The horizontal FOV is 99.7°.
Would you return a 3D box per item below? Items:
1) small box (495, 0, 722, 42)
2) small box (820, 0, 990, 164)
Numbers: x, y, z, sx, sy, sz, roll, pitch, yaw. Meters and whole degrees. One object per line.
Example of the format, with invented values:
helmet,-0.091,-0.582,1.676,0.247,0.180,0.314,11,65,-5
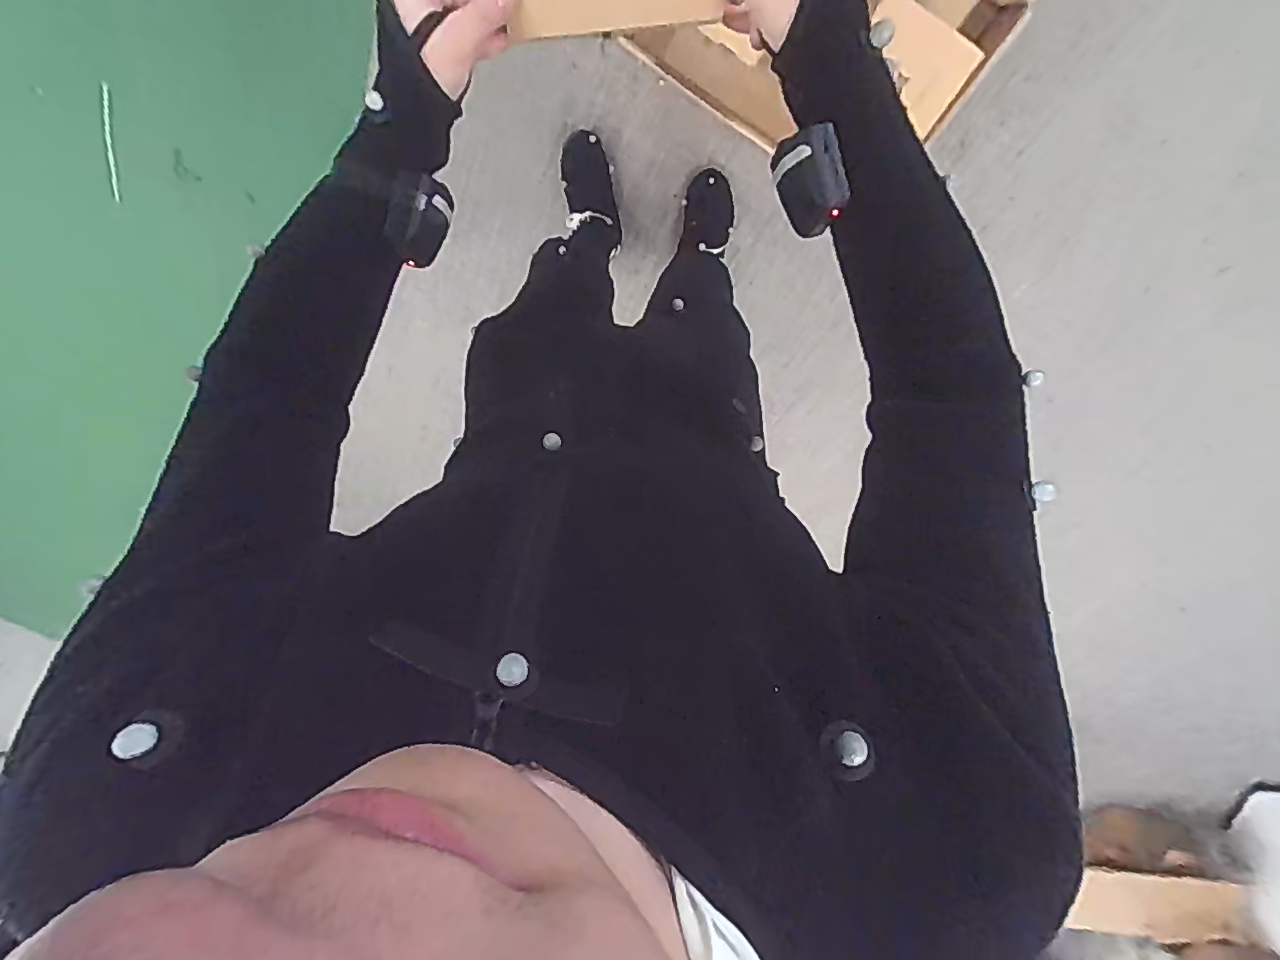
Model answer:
small box,-0.023,-0.461,0.431,0.179,0.176,0.168,-2,130,6
small box,0.417,-0.655,0.889,0.179,0.176,0.168,28,128,-9
